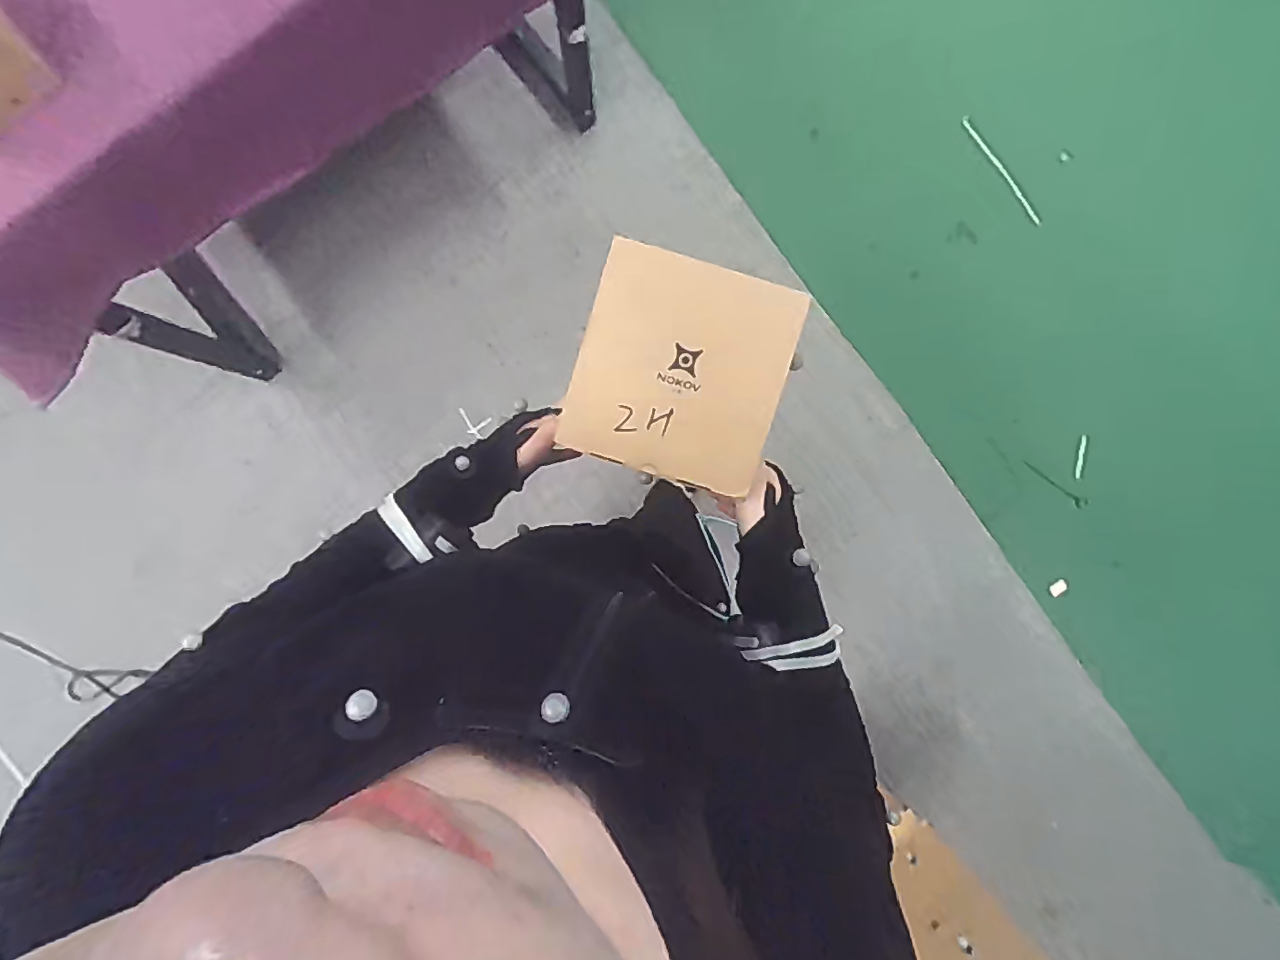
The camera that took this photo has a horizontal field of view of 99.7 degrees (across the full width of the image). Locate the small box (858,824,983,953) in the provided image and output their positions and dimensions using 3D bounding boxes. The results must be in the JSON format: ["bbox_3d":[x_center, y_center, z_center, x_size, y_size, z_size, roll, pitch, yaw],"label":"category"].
[{"bbox_3d":[0.528,0.770,0.962,0.168,0.176,0.179,-35,89,0],"label":"small box"}]

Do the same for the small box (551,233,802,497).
[{"bbox_3d":[0.030,-0.096,0.515,0.168,0.176,0.179,17,94,1],"label":"small box"}]
